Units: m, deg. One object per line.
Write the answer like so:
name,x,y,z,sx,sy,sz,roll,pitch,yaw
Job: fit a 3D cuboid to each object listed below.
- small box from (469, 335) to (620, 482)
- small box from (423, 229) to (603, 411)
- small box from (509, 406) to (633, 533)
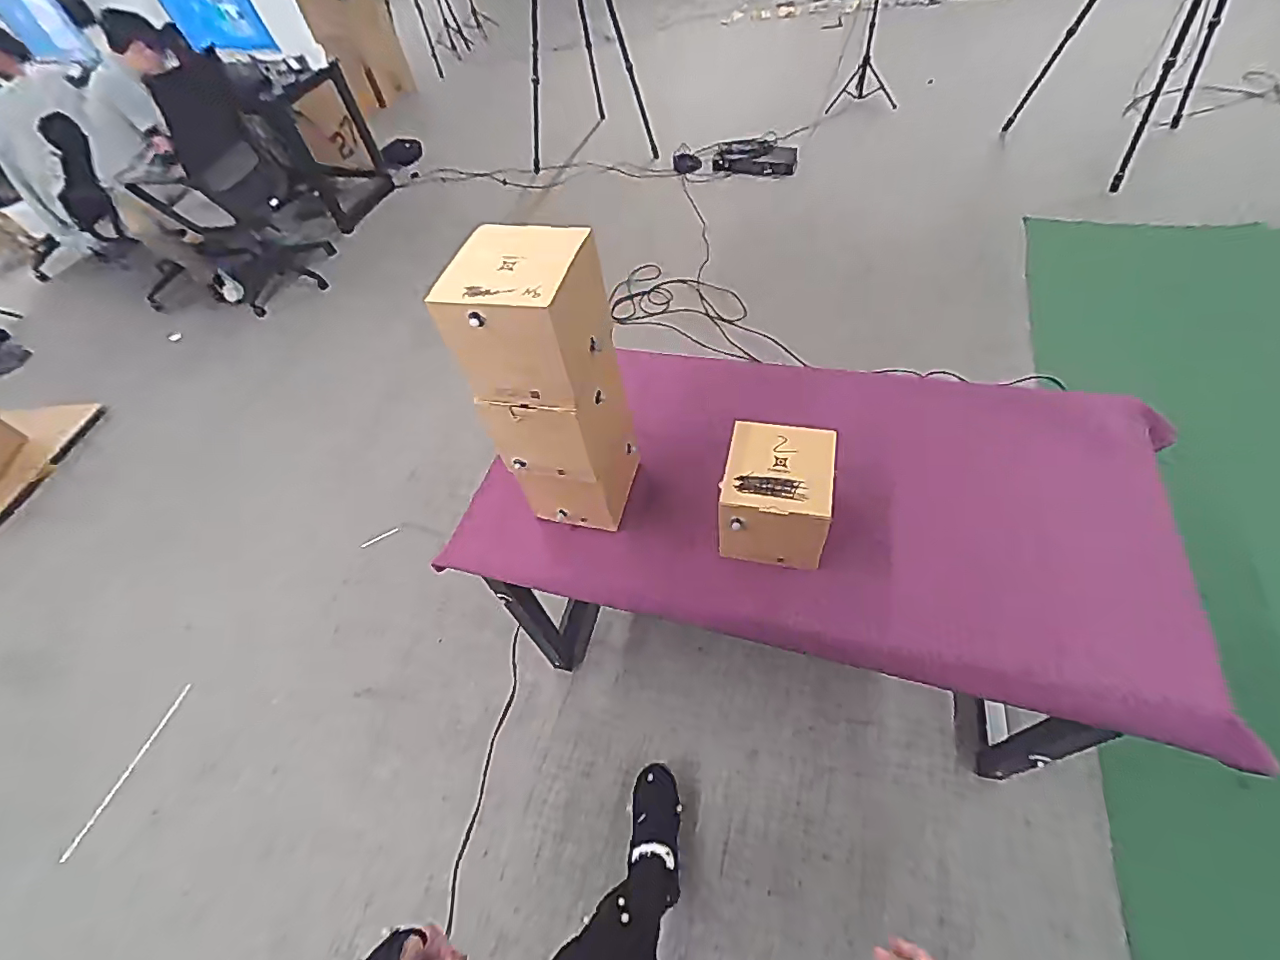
small box,-0.138,-0.117,0.870,0.168,0.176,0.179,7,54,15
small box,-0.157,-0.220,0.744,0.168,0.176,0.179,7,54,15
small box,-0.116,-0.026,1.005,0.168,0.176,0.179,8,56,15
